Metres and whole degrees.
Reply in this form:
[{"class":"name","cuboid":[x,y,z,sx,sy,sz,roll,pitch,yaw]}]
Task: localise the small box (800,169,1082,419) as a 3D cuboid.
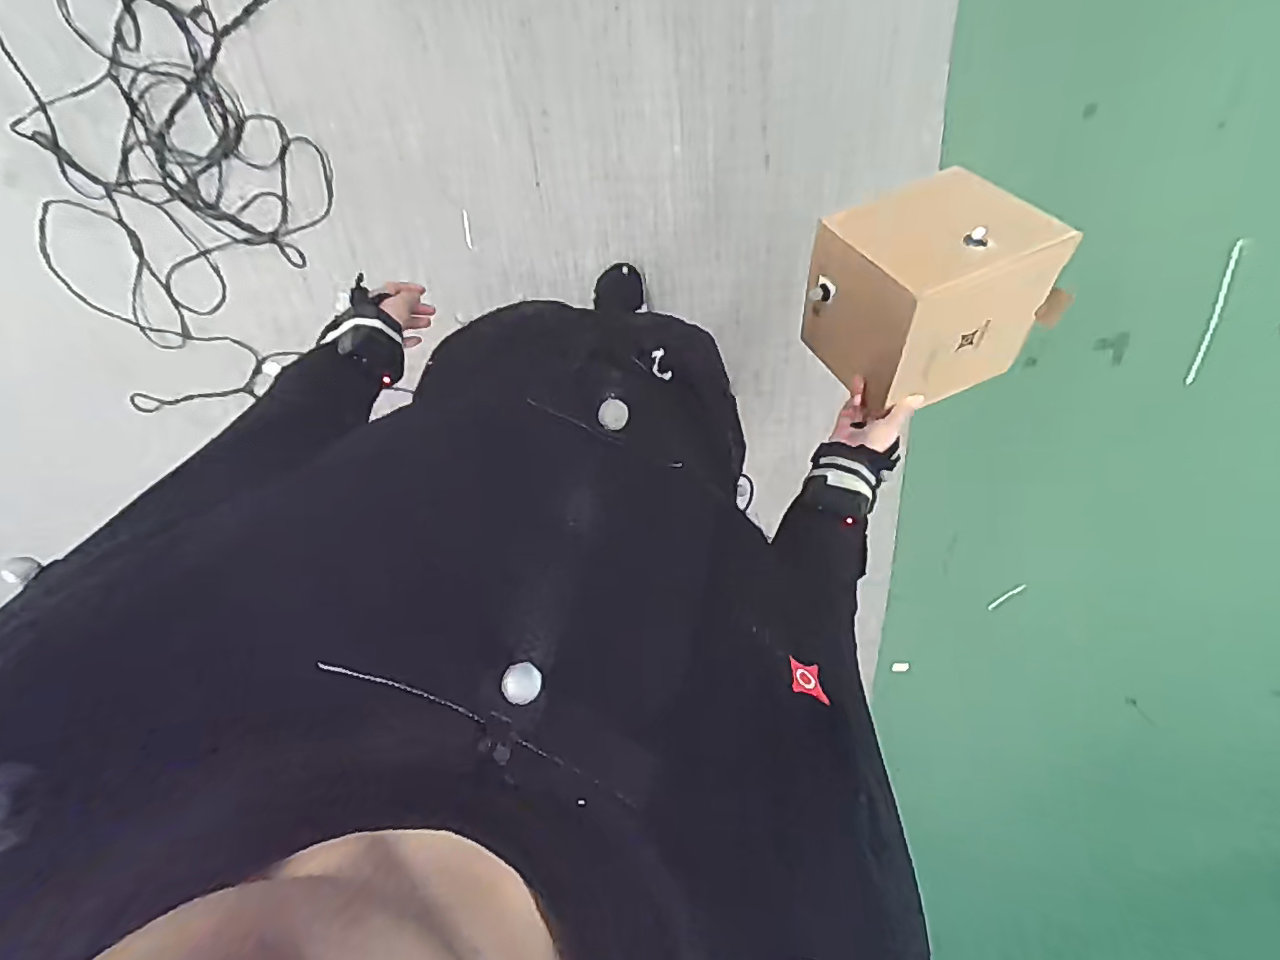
[{"class":"small box","cuboid":[0.301,-0.204,0.585,0.179,0.176,0.168,-23,143,-6]}]
